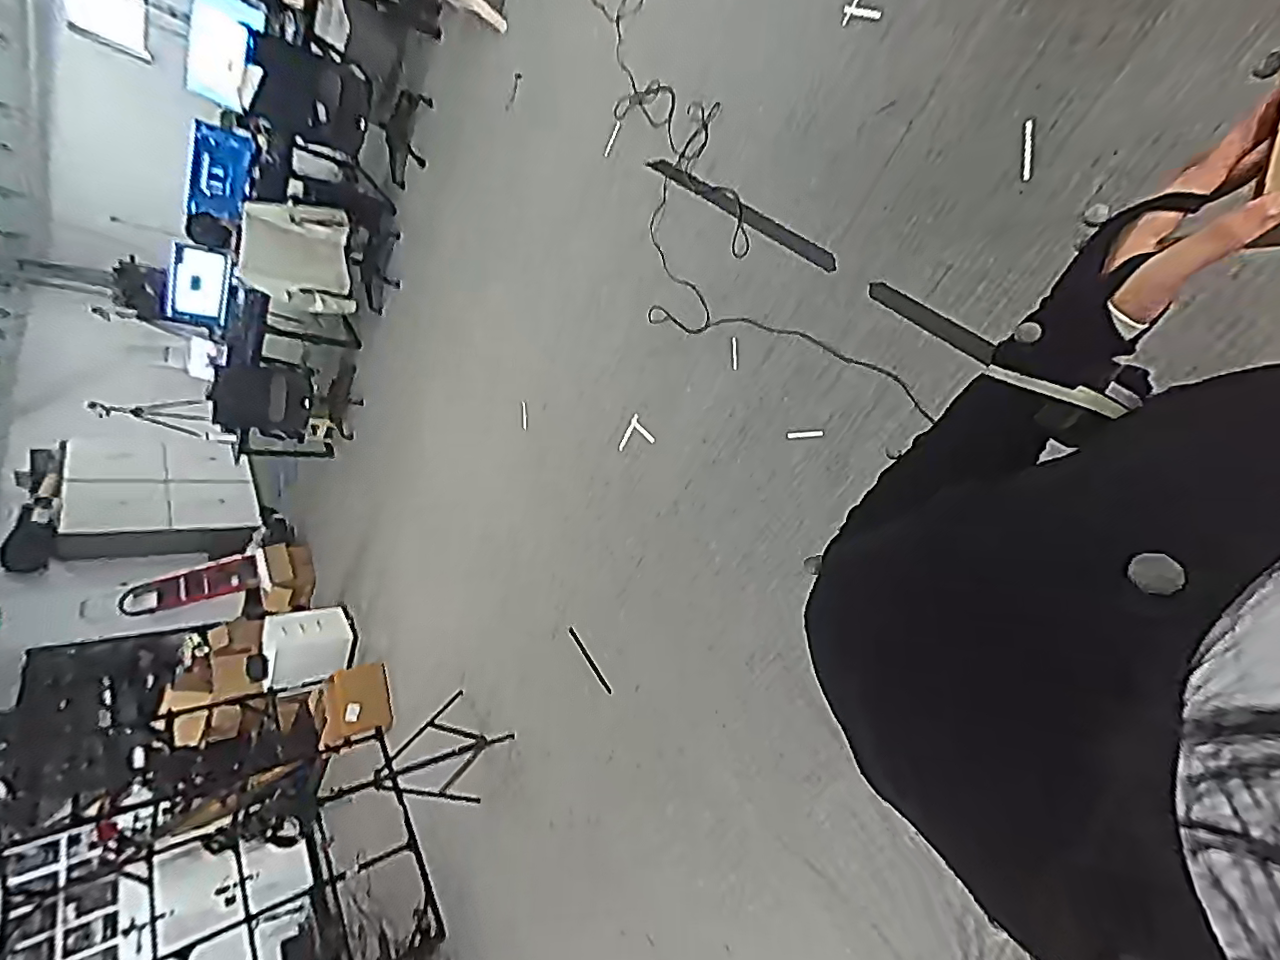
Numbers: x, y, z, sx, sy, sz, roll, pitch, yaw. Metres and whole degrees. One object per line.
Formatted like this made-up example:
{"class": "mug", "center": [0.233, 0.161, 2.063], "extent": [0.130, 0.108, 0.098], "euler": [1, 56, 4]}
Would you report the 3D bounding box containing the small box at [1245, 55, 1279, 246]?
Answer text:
{"class": "small box", "center": [0.449, -0.229, 0.274], "extent": [0.168, 0.176, 0.179], "euler": [12, 111, 43]}
